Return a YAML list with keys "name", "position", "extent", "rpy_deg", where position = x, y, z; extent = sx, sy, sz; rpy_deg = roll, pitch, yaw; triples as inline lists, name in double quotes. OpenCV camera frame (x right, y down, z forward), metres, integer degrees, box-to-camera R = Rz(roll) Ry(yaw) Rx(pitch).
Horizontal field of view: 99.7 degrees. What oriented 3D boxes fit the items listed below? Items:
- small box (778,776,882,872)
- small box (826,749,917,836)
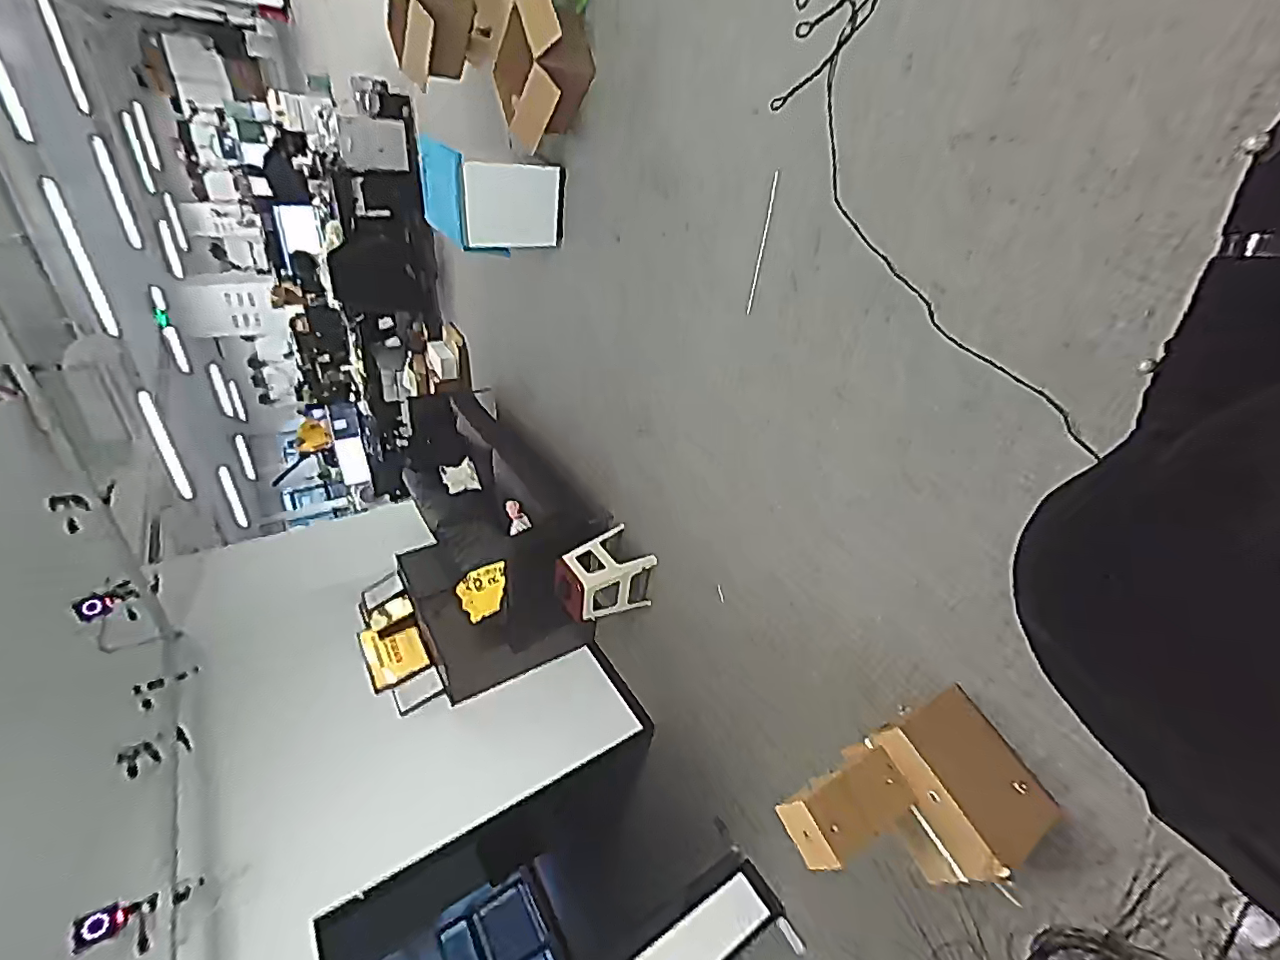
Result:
- name: "small box"
  position: [0.533, 0.962, 1.523]
  extent: [0.179, 0.176, 0.168]
  rpy_deg: [57, 147, 25]
- name: "small box"
  position: [0.673, 0.929, 1.599]
  extent: [0.168, 0.176, 0.179]
  rpy_deg: [57, 147, 26]
